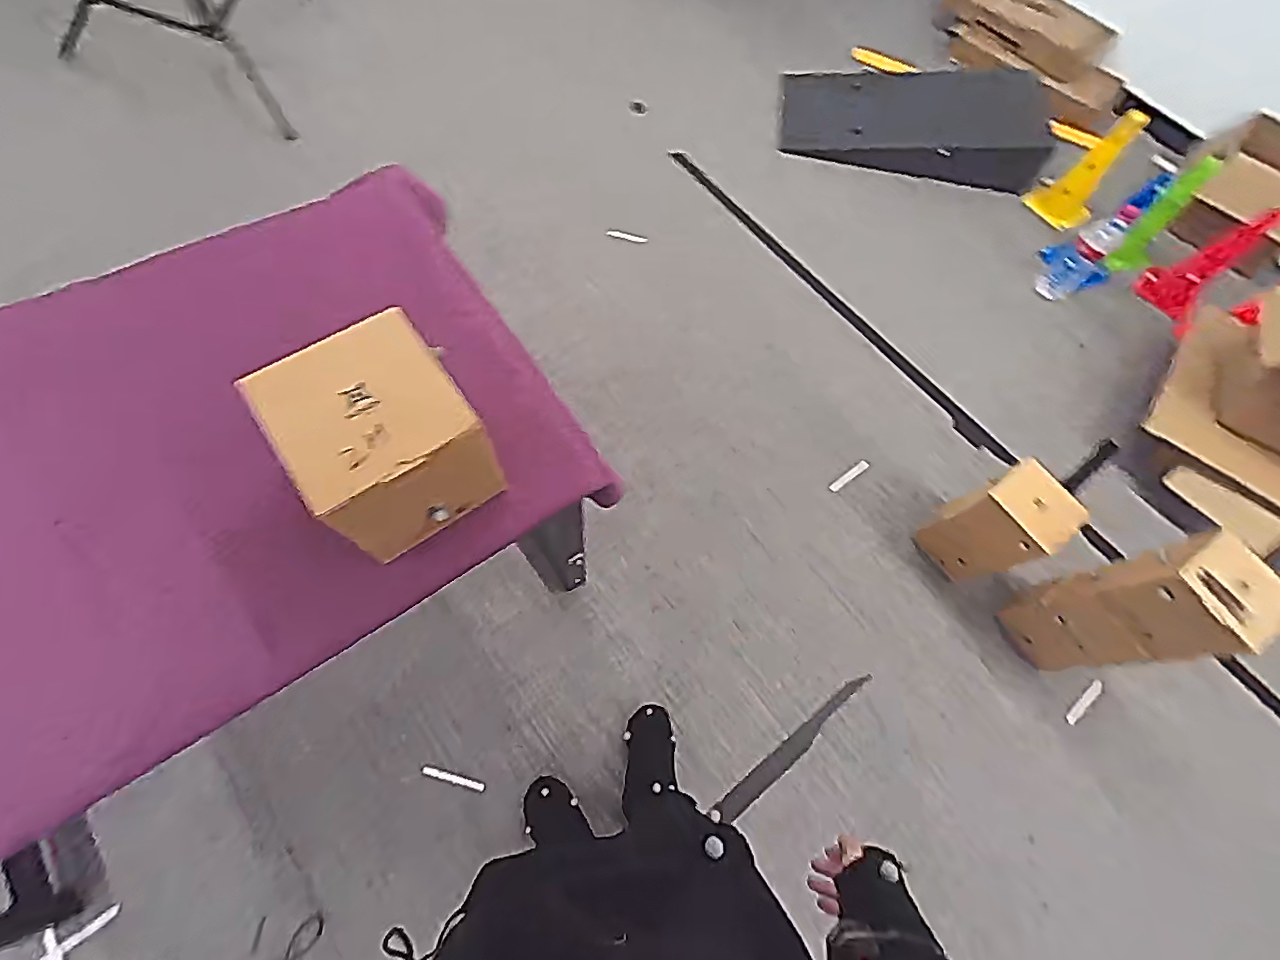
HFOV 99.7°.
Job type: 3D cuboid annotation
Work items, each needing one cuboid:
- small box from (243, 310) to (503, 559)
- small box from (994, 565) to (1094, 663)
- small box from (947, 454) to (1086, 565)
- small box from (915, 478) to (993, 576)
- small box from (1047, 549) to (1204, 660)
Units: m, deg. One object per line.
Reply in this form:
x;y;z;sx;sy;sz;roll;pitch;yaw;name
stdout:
-0.272;-0.040;0.590;0.168;0.176;0.179;-35;74;-17;small box
1.057;0.344;1.366;0.168;0.176;0.179;-30;74;-16;small box
0.881;0.076;1.284;0.168;0.176;0.179;-34;76;-18;small box
0.869;0.132;1.436;0.179;0.176;0.168;-35;76;-19;small box
1.070;0.285;1.212;0.179;0.176;0.168;-31;74;-18;small box
